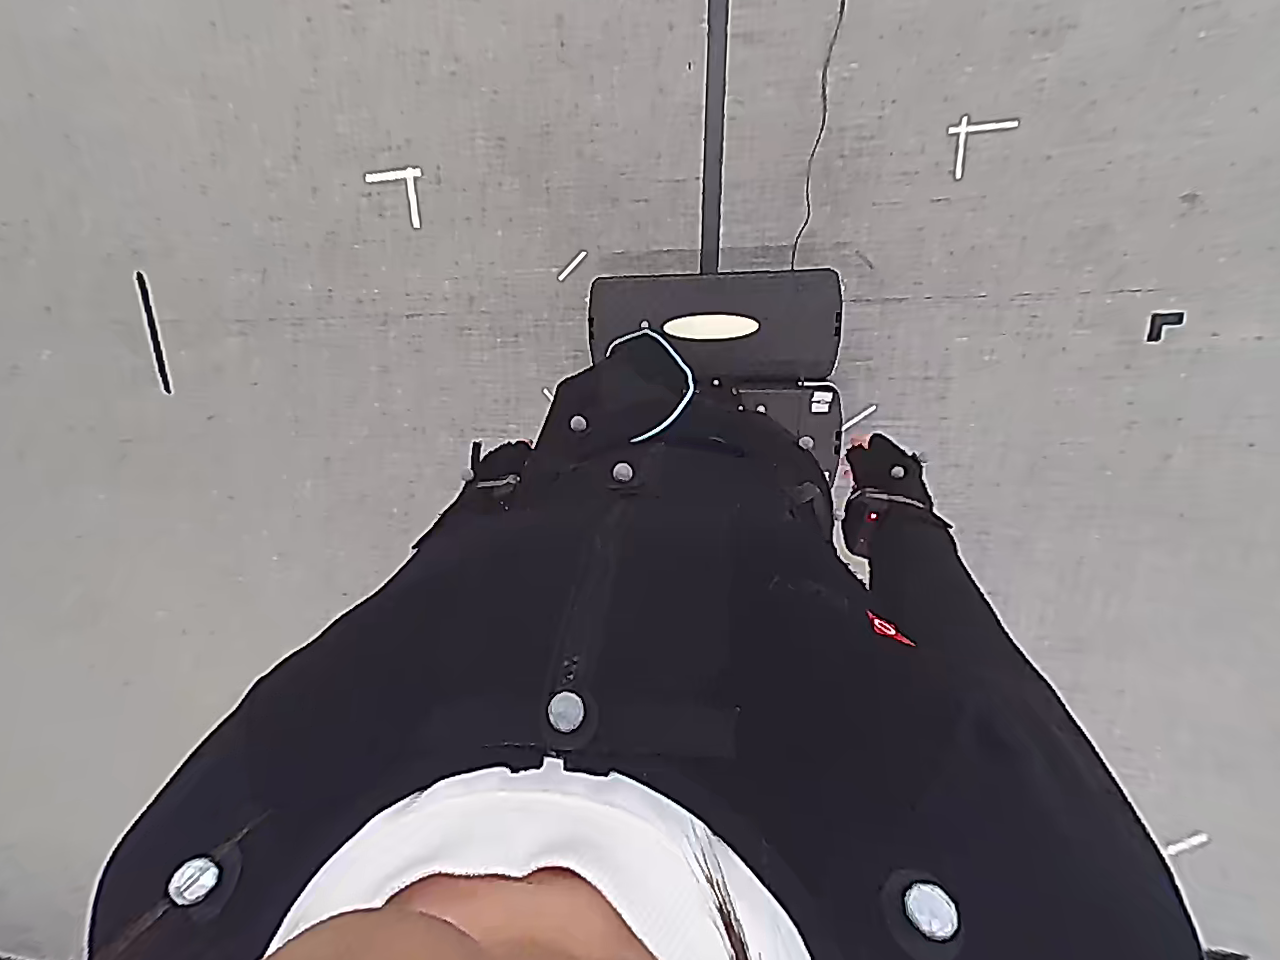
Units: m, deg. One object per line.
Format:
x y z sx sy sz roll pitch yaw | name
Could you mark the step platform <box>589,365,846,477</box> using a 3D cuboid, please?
0.203 -0.163 1.486 0.684 0.204 0.286 1 103 10 | step platform
